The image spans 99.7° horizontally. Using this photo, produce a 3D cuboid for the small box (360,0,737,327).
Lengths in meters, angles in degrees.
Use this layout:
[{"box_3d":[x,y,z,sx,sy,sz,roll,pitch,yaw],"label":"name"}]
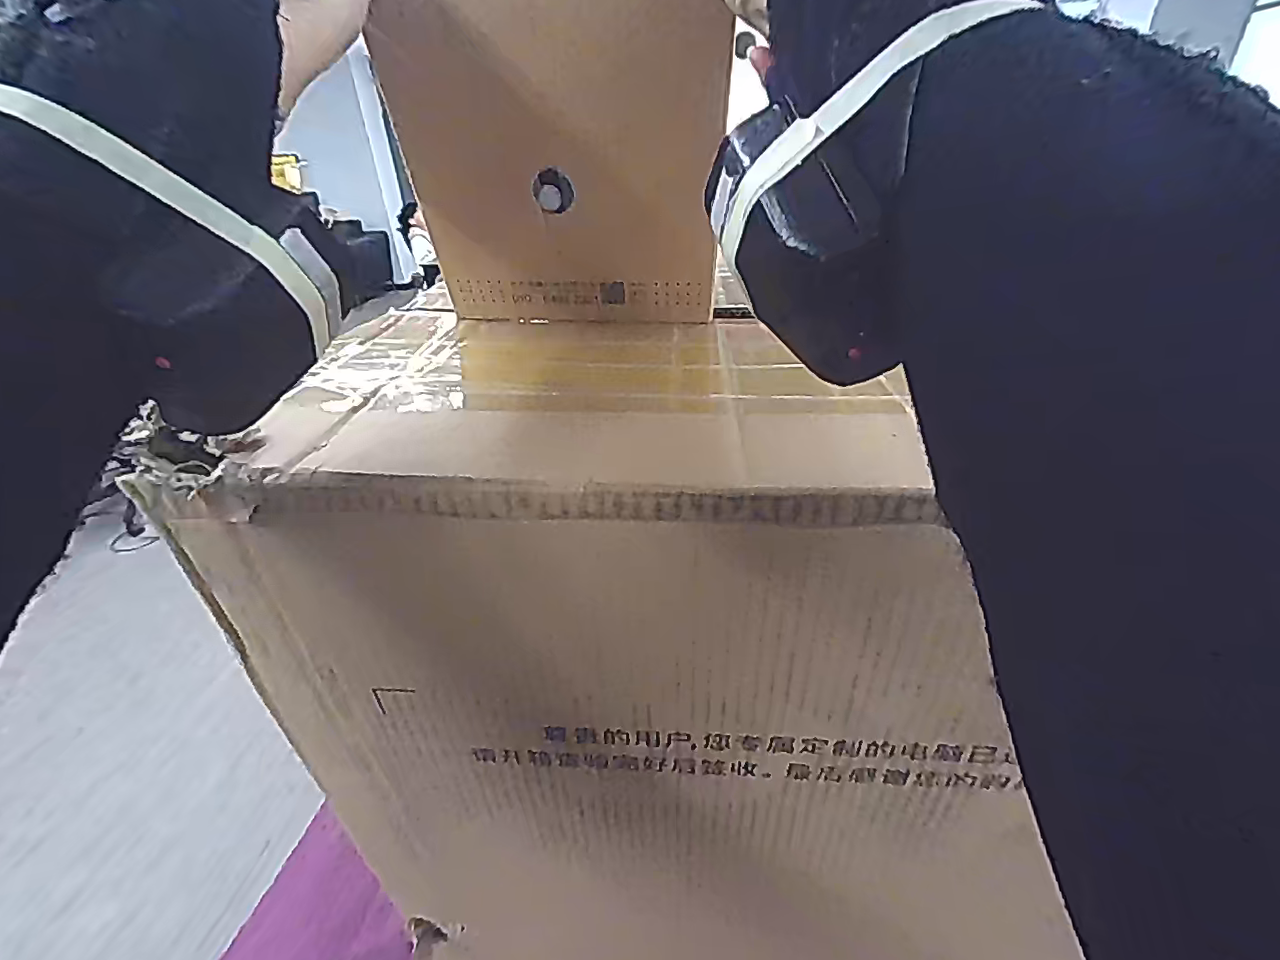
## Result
[{"box_3d":[-0.030,-0.212,0.337,0.168,0.176,0.179,3,50,4],"label":"small box"}]
